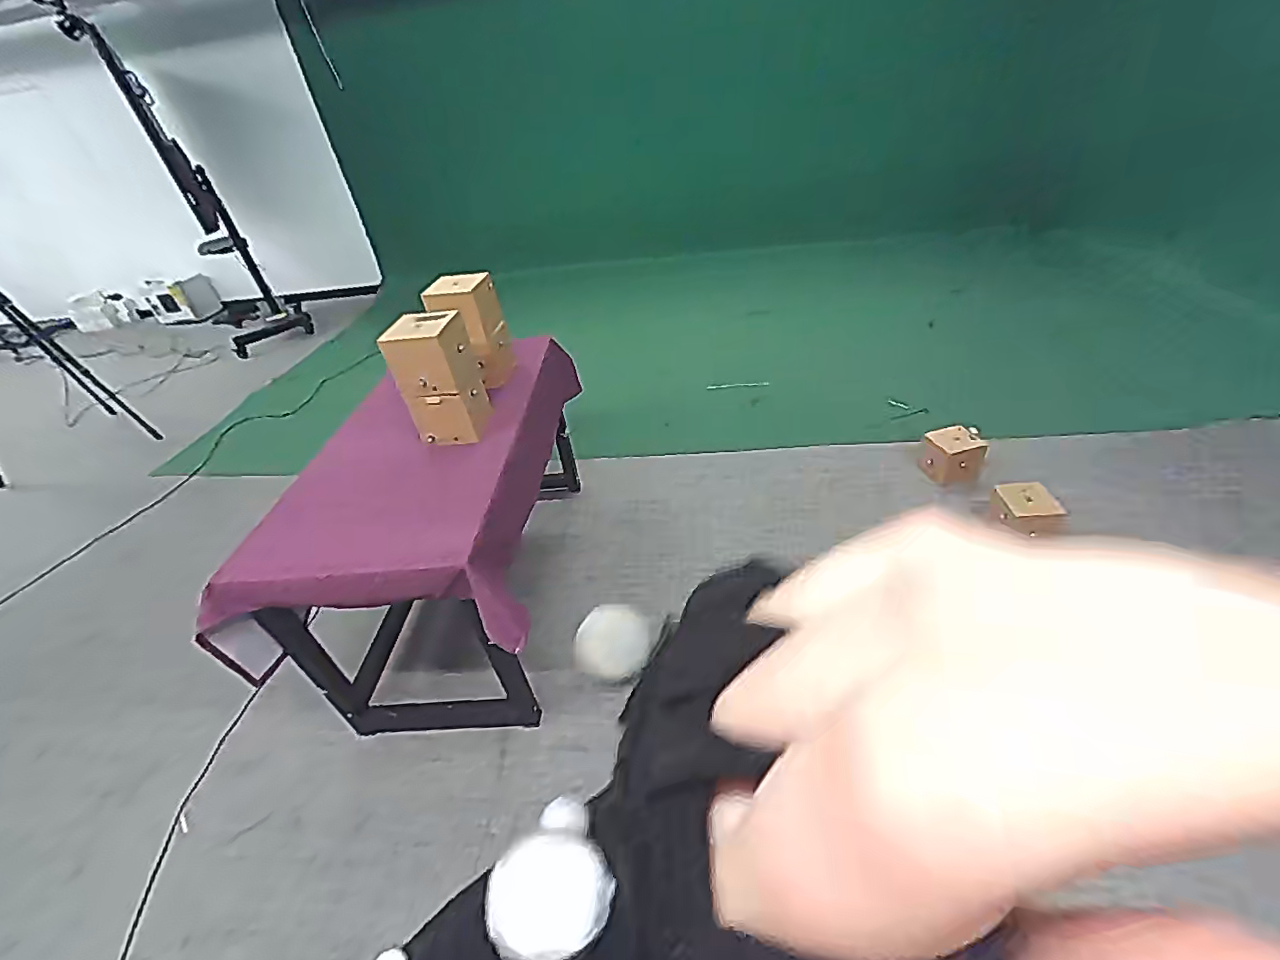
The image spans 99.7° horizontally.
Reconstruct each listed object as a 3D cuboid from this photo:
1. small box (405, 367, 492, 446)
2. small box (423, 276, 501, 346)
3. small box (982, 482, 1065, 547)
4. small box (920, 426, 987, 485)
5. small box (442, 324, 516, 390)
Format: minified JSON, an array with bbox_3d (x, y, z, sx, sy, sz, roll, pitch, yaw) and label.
[{"bbox_3d":[-0.550,-0.210,1.581,0.168,0.176,0.179,-5,37,6],"label":"small box"},{"bbox_3d":[-0.567,-0.543,1.750,0.168,0.176,0.179,-2,38,8],"label":"small box"},{"bbox_3d":[1.371,0.130,1.946,0.168,0.176,0.179,-3,38,6],"label":"small box"},{"bbox_3d":[1.301,-0.101,2.263,0.179,0.176,0.168,-14,37,-6],"label":"small box"},{"bbox_3d":[-0.541,-0.416,1.848,0.168,0.176,0.179,0,38,10],"label":"small box"}]
